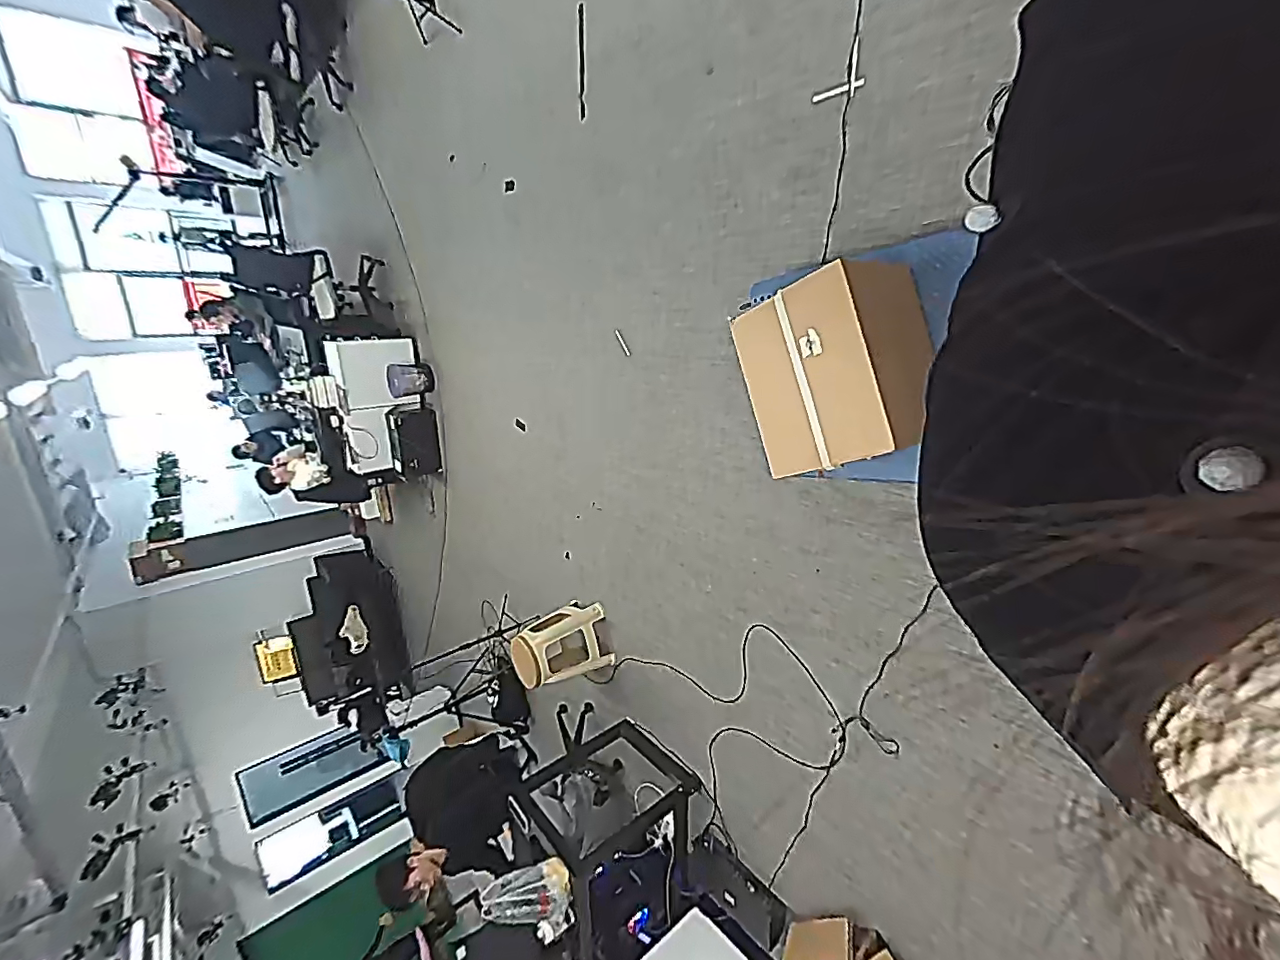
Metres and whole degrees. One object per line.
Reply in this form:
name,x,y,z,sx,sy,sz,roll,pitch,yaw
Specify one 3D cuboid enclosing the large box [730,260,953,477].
large box,0.473,-0.252,1.282,0.320,0.320,0.408,-17,87,51
